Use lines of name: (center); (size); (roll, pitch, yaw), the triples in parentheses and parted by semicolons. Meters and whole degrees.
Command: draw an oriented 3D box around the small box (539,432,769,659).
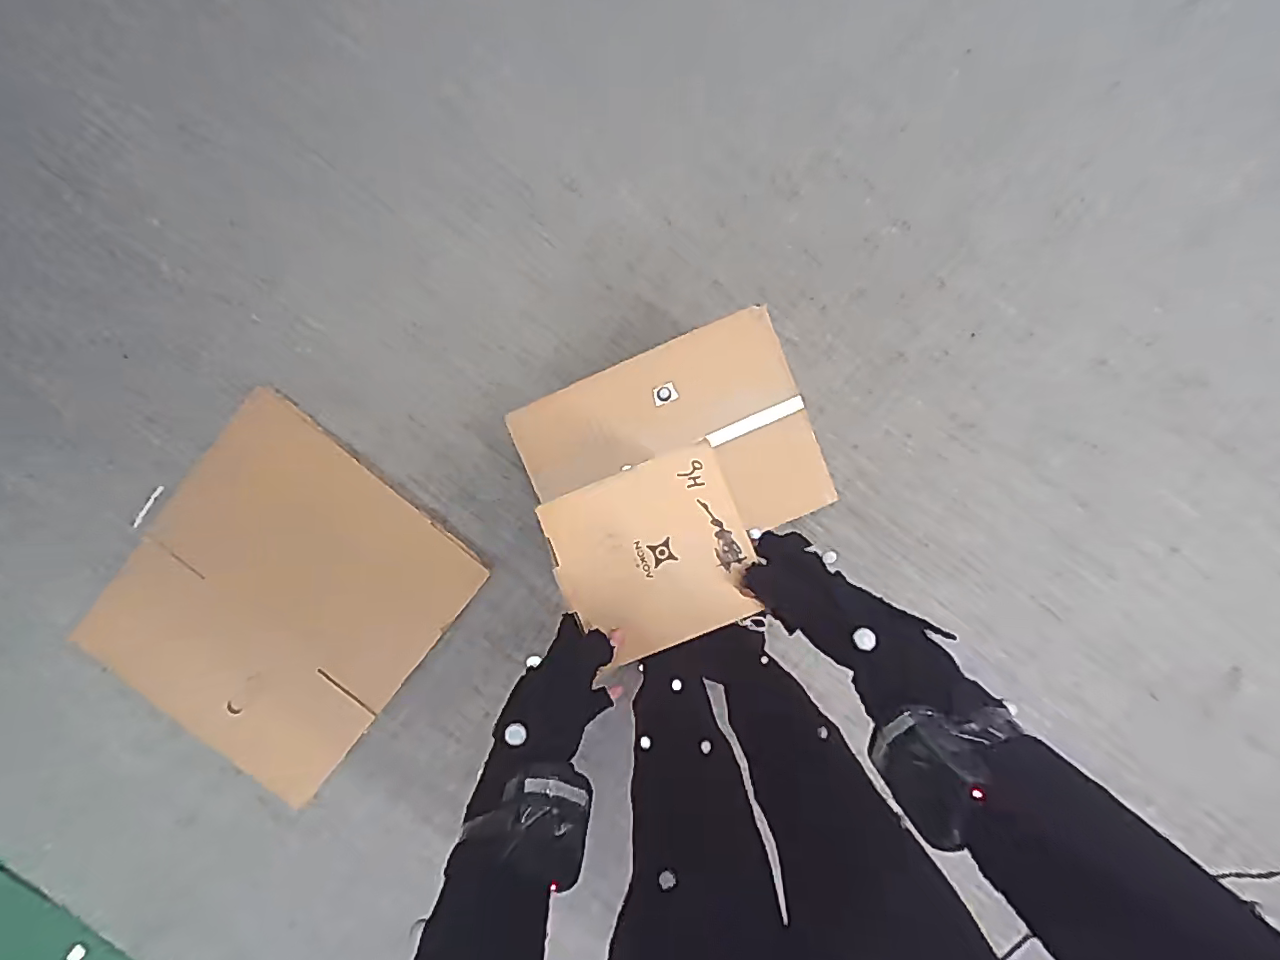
small box: (0.018, 0.069, 0.590); (0.179, 0.176, 0.168); (-25, 84, 3)
